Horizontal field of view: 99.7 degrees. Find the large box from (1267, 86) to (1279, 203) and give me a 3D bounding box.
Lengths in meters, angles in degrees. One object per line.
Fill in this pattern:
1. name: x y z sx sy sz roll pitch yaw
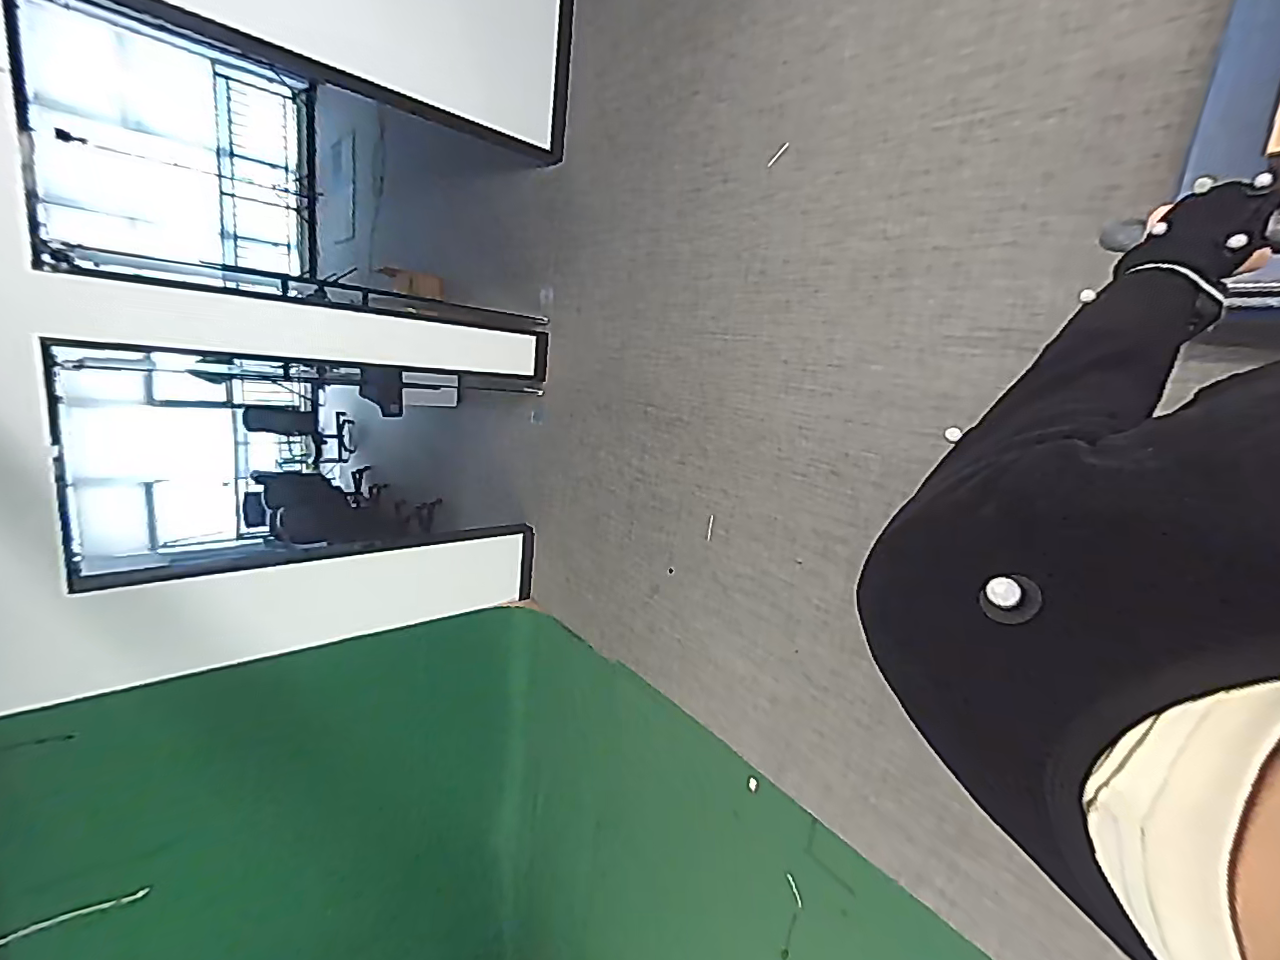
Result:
1. large box: 1.130 -0.646 0.727 0.320 0.320 0.408 16 105 48
